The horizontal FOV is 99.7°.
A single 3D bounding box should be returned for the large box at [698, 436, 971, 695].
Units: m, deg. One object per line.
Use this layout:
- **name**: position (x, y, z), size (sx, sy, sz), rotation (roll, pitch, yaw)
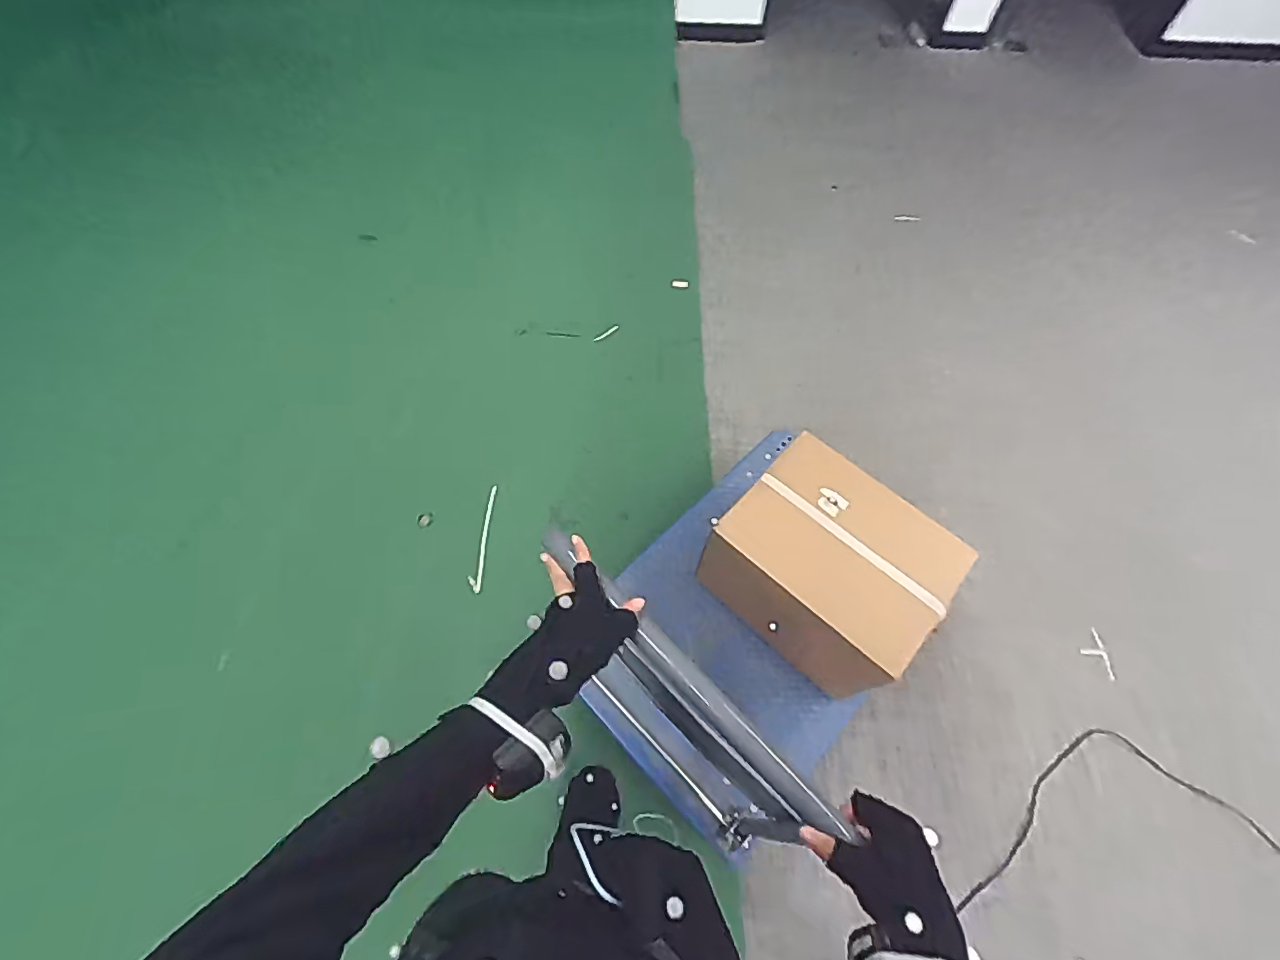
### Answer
- **large box**: position (0.384, 0.190, 1.164), size (0.408, 0.320, 0.320), rotation (40, 67, 19)
